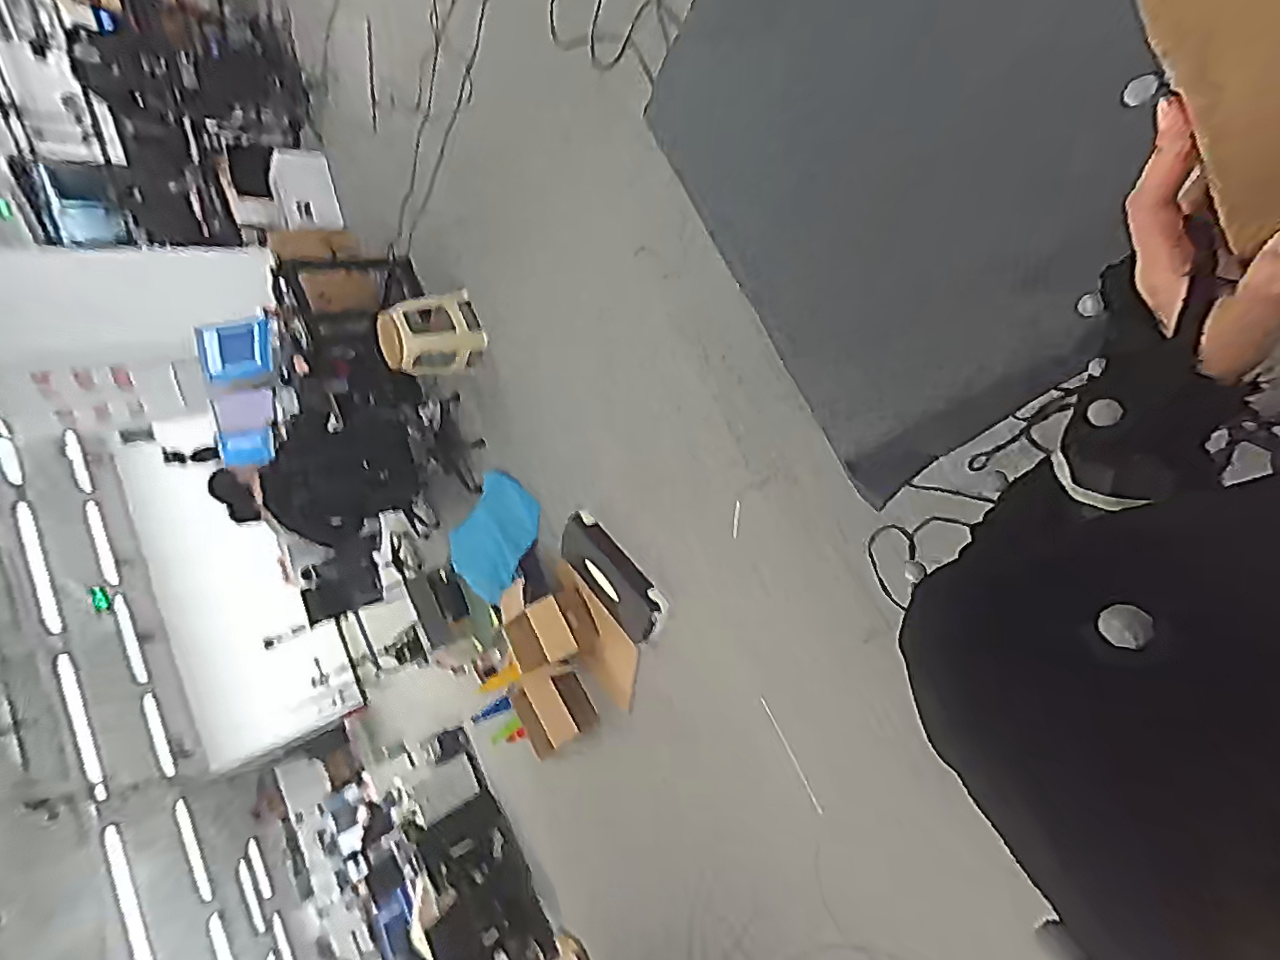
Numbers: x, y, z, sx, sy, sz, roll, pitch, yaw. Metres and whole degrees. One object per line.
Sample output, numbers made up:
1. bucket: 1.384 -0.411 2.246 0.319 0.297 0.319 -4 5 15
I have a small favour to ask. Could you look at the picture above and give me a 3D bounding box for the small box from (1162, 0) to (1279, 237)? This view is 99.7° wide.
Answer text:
1. small box: 0.251 -0.214 0.144 0.168 0.179 0.176 -20 62 48
